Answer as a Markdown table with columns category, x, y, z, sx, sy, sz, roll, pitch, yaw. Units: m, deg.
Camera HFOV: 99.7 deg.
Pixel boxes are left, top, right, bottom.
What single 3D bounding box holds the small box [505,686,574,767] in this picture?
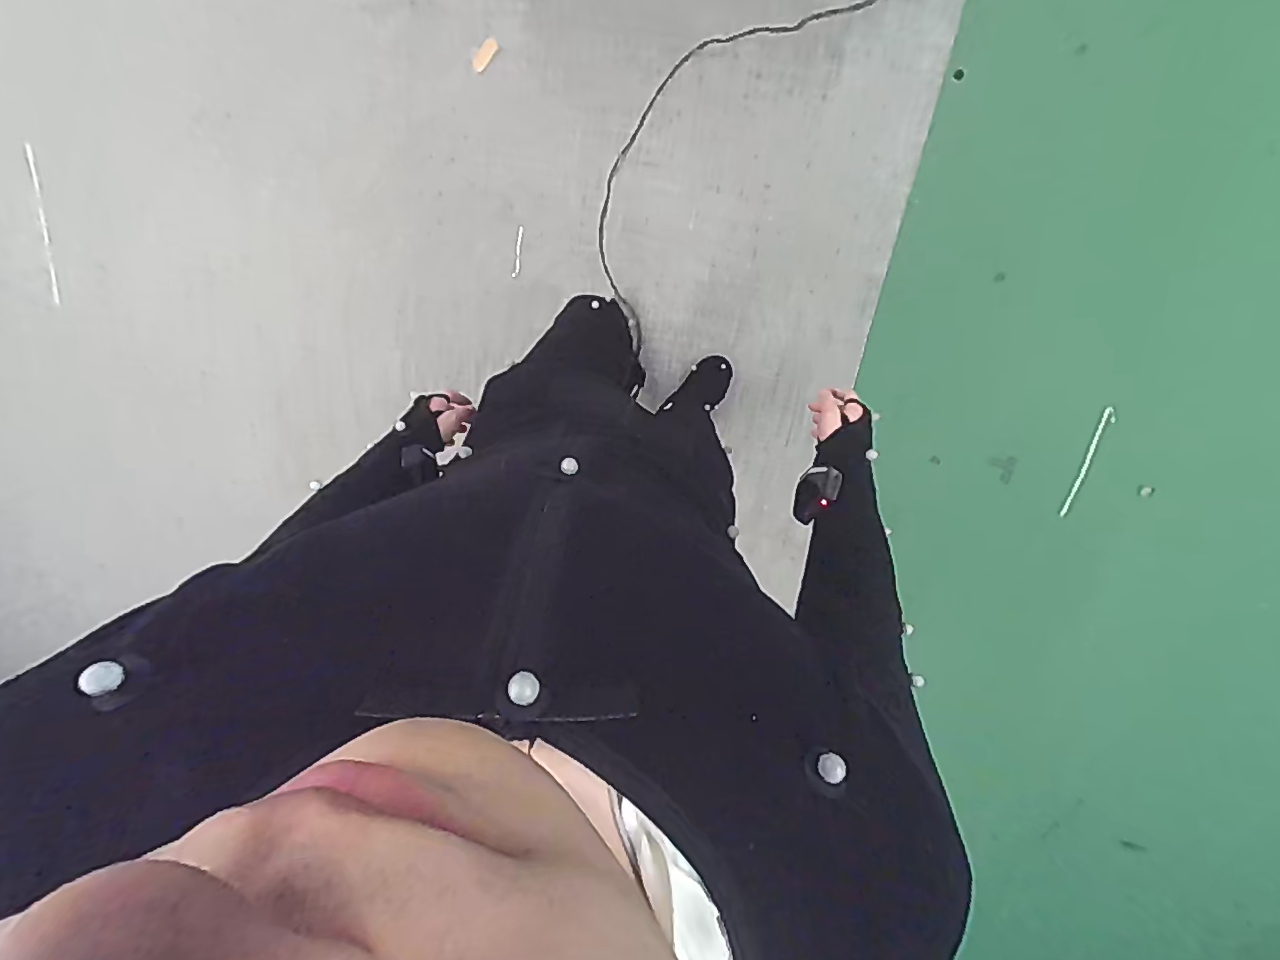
| category | x | y | z | sx | sy | sz | roll | pitch | yaw |
| --- | --- | --- | --- | --- | --- | --- | --- | --- | --- |
| small box | -0.344 | 0.845 | 1.871 | 0.179 | 0.176 | 0.168 | 14 | 109 | 3 |
